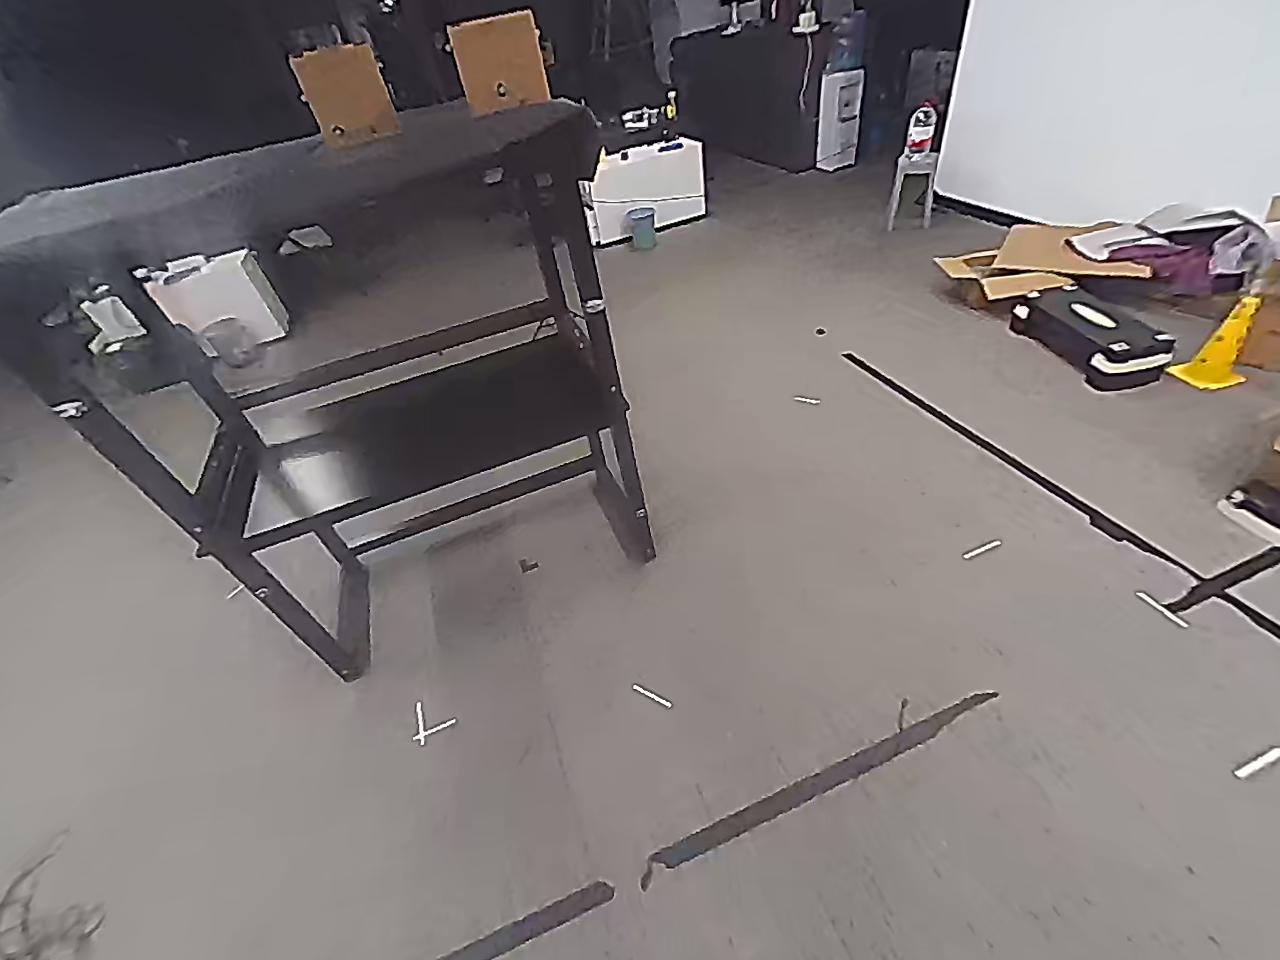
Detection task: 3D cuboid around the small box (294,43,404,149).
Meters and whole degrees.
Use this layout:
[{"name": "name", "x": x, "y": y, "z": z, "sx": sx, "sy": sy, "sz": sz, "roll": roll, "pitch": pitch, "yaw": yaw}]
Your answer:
[{"name": "small box", "x": -0.658, "y": -0.874, "z": 1.236, "sx": 0.168, "sy": 0.176, "sz": 0.179, "roll": -22, "pitch": 42, "yaw": -12}]

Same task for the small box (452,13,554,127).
[{"name": "small box", "x": -0.293, "y": -0.875, "z": 1.158, "sx": 0.168, "sy": 0.176, "sz": 0.179, "roll": -18, "pitch": 42, "yaw": -6}]
